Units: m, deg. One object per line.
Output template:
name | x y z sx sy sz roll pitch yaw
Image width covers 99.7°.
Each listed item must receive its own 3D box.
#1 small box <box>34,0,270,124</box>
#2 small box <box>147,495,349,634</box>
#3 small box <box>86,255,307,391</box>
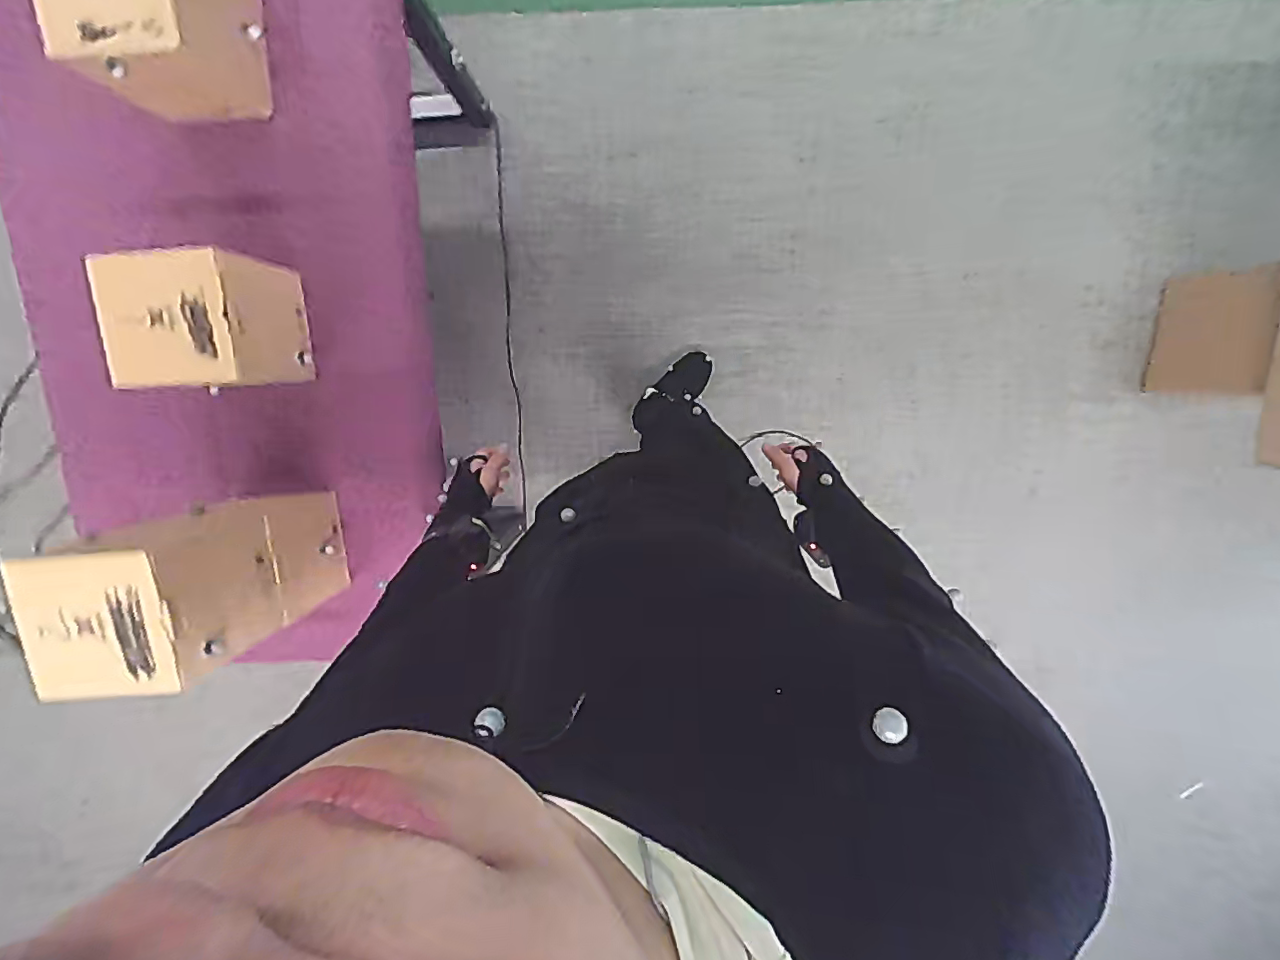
small box | -0.629 -0.603 0.709 0.168 0.176 0.179 -2 100 2
small box | -0.590 0.123 0.836 0.179 0.176 0.168 -4 100 2
small box | -0.613 -0.218 0.778 0.179 0.176 0.168 -3 100 2
